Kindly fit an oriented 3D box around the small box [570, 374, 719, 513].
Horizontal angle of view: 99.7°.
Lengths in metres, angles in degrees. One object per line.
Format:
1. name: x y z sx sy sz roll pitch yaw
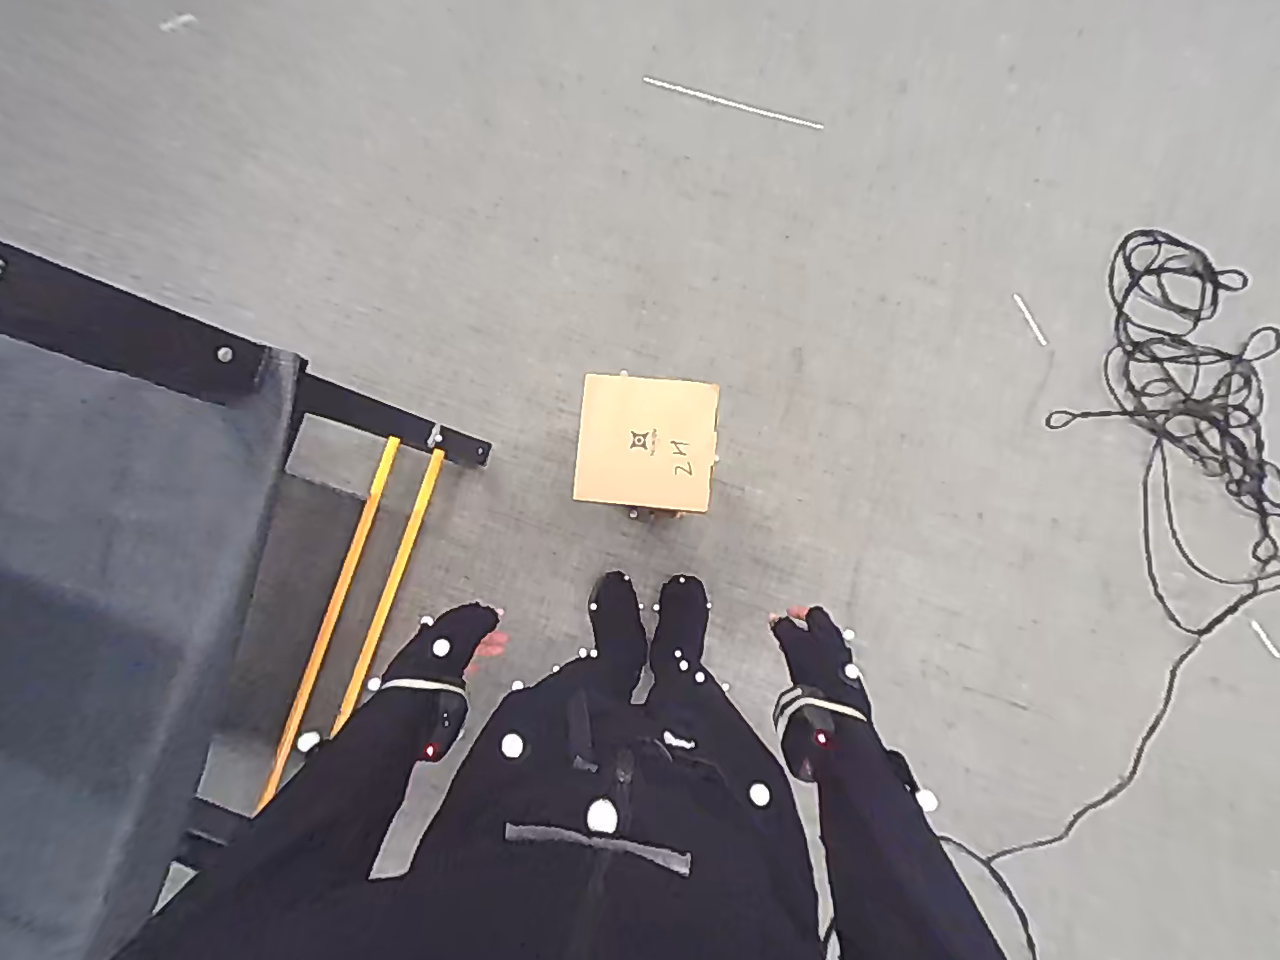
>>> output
1. small box: 0.011 -0.042 0.761 0.179 0.176 0.168 6 87 4
